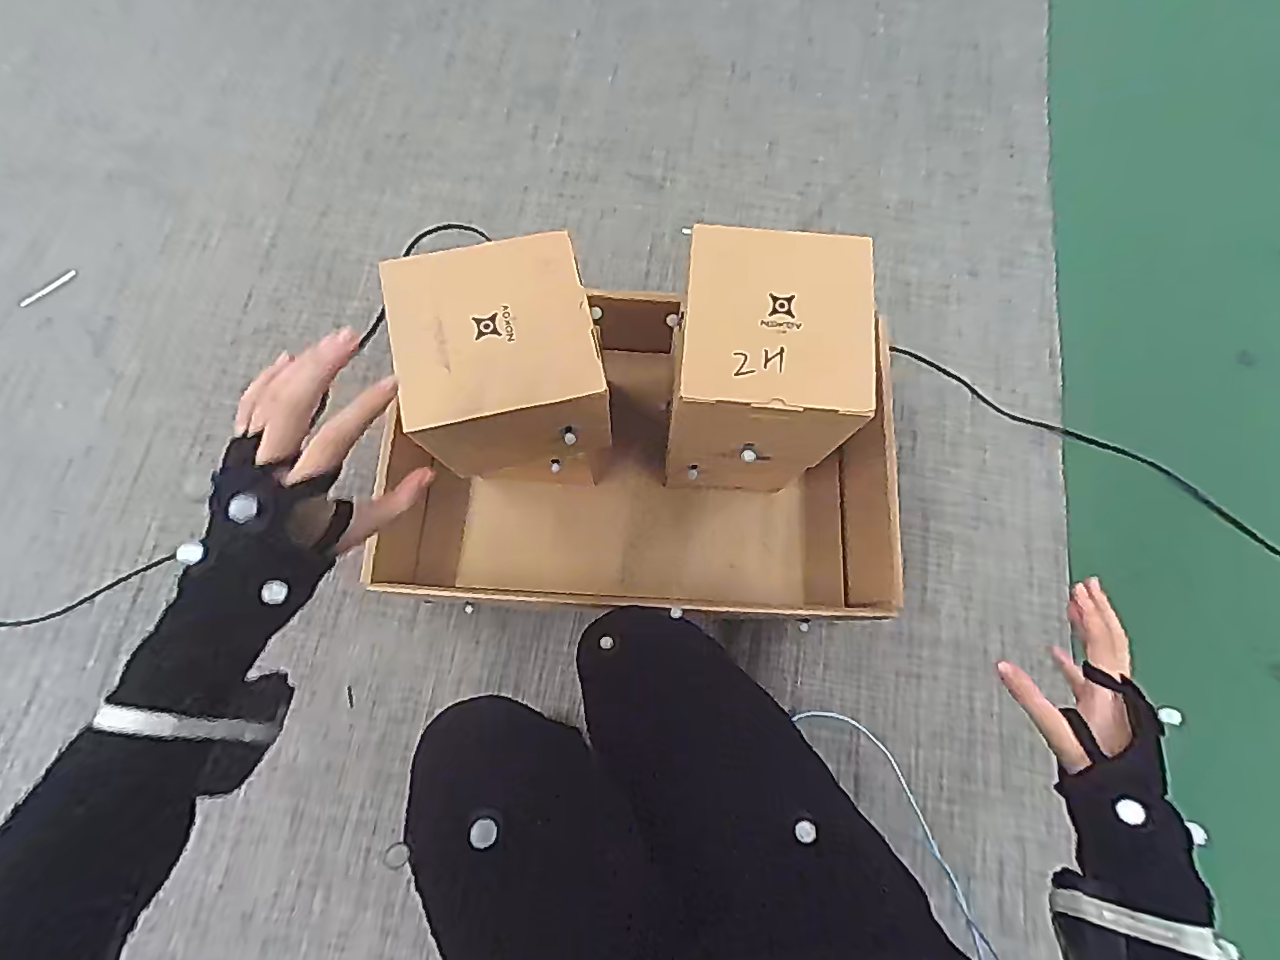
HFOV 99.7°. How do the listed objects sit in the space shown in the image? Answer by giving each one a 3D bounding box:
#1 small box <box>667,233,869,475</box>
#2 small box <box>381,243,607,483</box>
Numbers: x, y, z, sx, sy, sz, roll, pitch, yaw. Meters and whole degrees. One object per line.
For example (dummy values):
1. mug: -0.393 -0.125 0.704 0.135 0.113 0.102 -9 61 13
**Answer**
1. small box: 0.118 -0.116 0.551 0.168 0.176 0.179 5 76 2
2. small box: -0.133 -0.106 0.551 0.179 0.176 0.168 -12 77 -4
